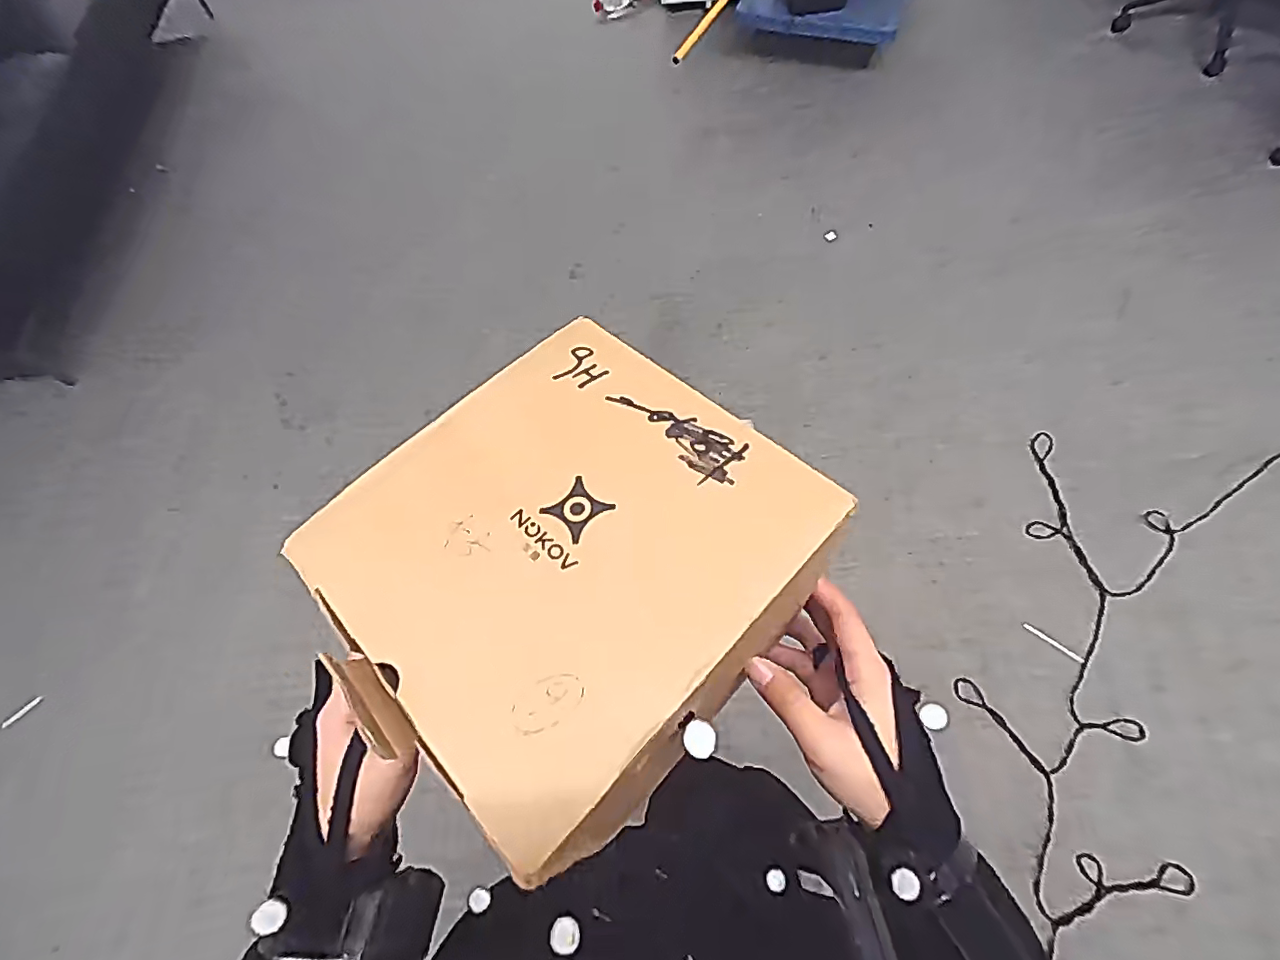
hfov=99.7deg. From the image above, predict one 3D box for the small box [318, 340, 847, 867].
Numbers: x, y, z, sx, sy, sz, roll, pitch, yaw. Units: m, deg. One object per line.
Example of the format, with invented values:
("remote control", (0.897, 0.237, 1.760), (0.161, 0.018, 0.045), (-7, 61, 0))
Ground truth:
("small box", (-0.020, 0.066, 0.299), (0.168, 0.176, 0.179), (39, 70, 24))
